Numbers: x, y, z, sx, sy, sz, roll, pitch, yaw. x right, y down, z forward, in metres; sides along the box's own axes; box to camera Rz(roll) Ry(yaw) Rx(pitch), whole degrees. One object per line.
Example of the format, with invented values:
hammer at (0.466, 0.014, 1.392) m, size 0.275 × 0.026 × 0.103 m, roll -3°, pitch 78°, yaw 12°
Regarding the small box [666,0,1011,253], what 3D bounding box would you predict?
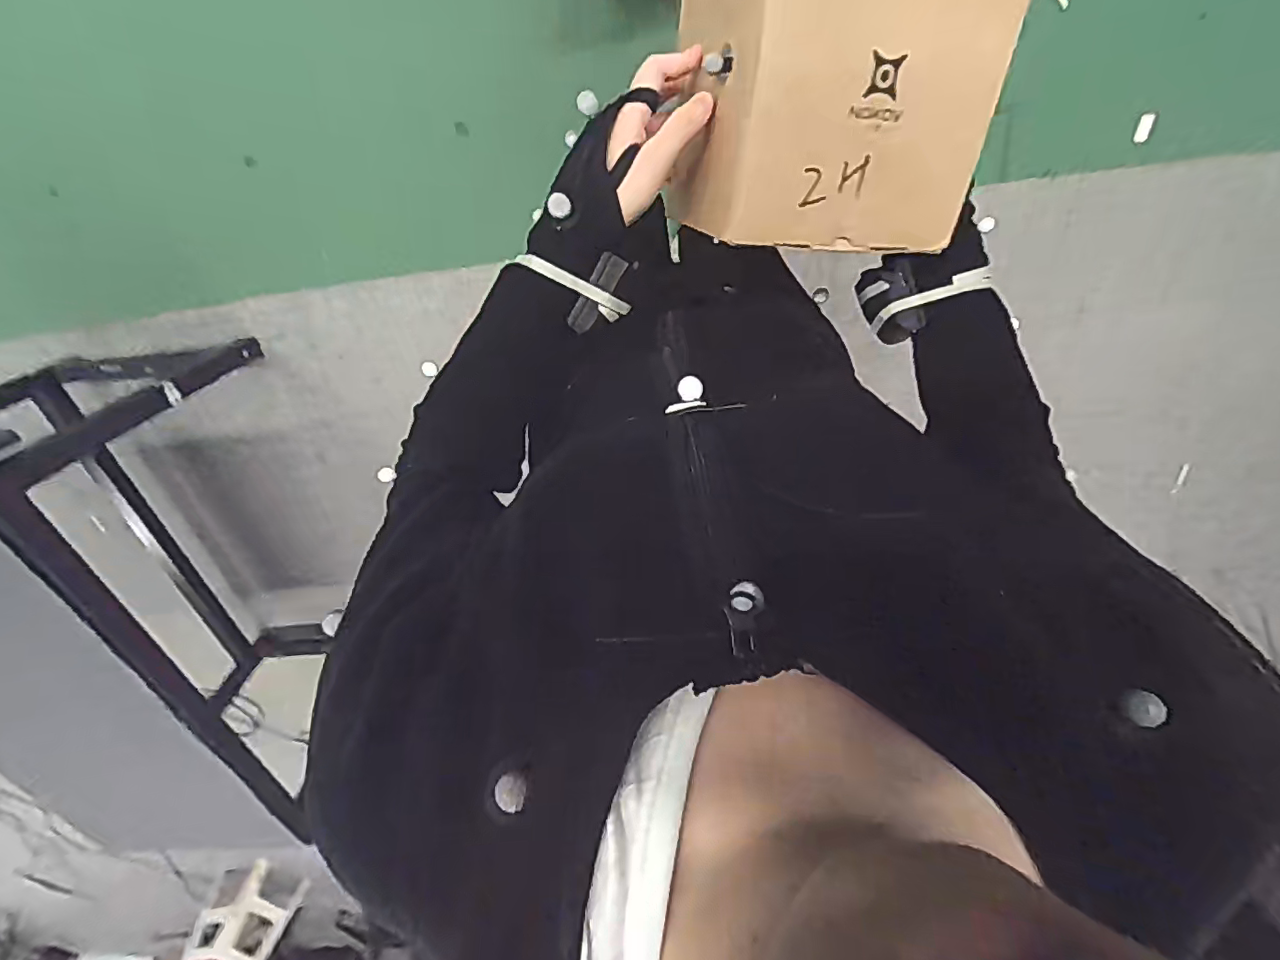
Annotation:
small box at (0.120, -0.274, 0.398) m, size 0.168 × 0.176 × 0.179 m, roll -2°, pitch 121°, yaw -11°
